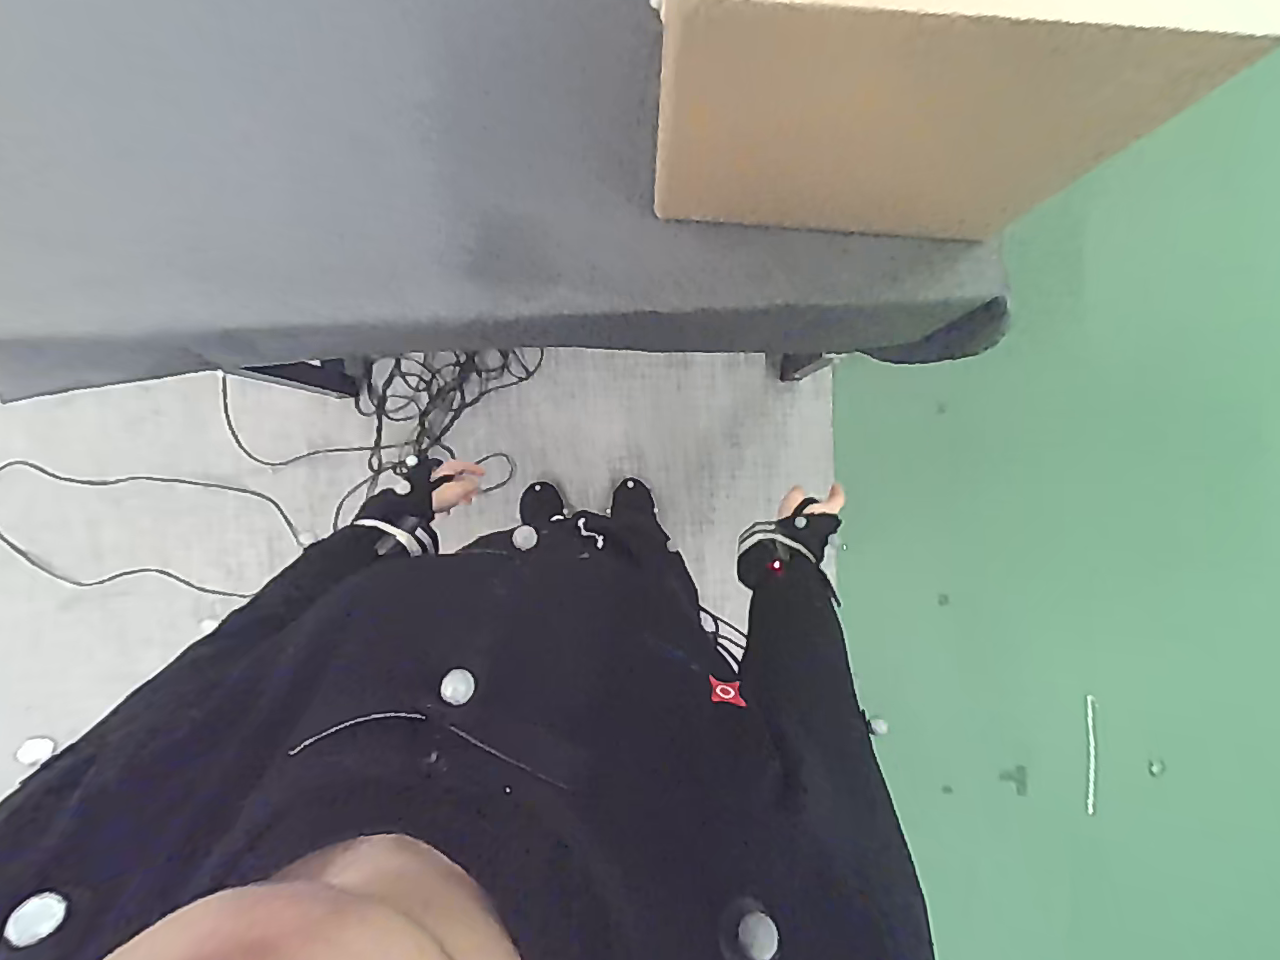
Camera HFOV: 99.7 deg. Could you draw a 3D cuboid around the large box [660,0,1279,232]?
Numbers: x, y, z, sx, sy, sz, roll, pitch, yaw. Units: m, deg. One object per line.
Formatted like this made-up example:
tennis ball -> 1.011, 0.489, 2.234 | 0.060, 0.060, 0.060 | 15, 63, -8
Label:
large box -> 0.231, -0.452, 0.495 | 0.408, 0.320, 0.320 | 3, 91, -2
